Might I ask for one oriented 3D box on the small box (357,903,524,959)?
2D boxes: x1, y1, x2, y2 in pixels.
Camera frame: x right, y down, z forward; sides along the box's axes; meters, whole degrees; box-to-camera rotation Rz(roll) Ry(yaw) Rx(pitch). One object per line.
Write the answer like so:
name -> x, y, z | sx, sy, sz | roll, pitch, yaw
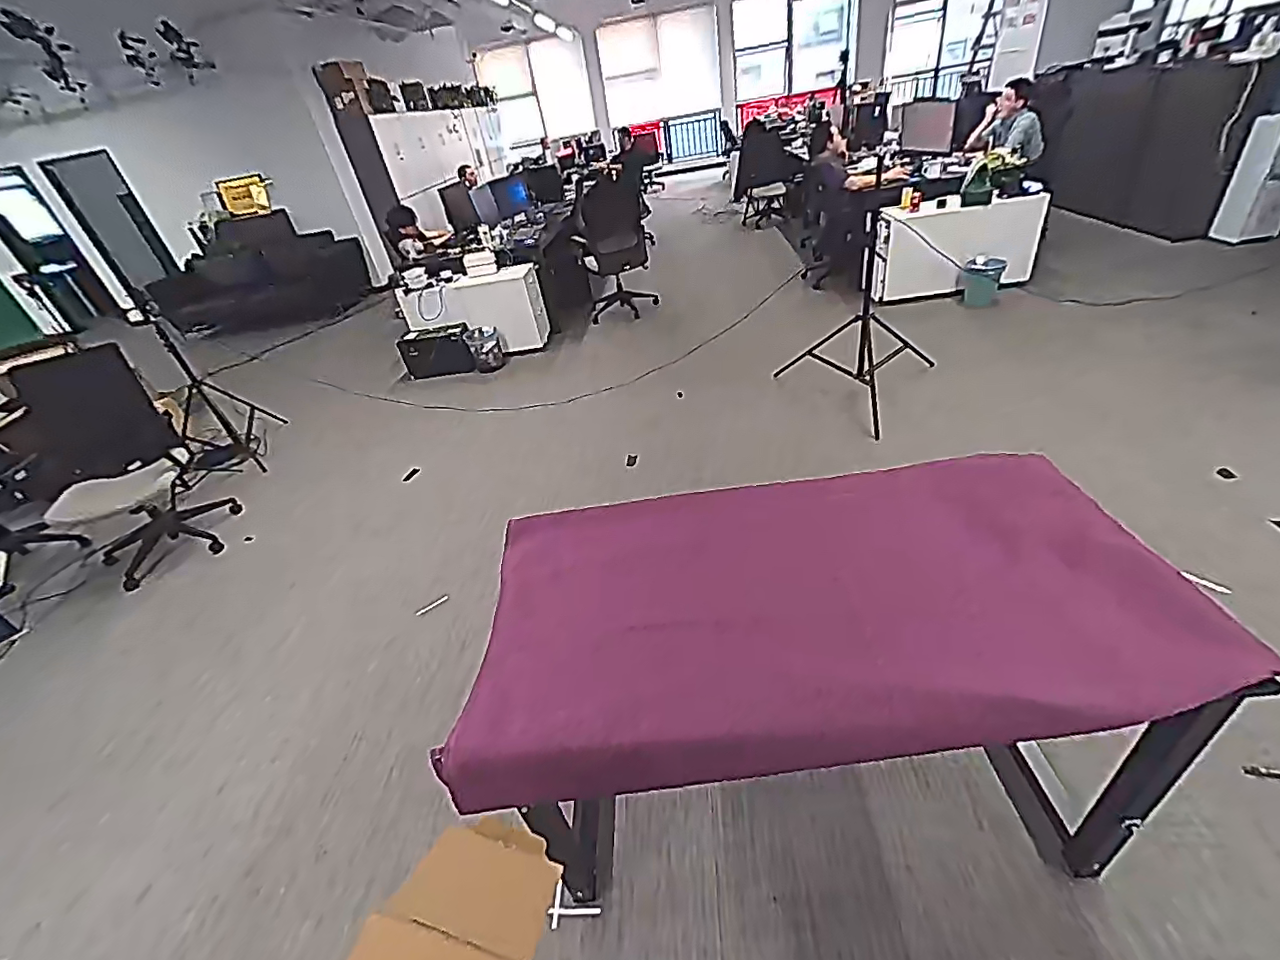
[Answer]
small box -> -0.226, 0.581, 0.557 | 0.168, 0.176, 0.179 | 17, 46, 7
